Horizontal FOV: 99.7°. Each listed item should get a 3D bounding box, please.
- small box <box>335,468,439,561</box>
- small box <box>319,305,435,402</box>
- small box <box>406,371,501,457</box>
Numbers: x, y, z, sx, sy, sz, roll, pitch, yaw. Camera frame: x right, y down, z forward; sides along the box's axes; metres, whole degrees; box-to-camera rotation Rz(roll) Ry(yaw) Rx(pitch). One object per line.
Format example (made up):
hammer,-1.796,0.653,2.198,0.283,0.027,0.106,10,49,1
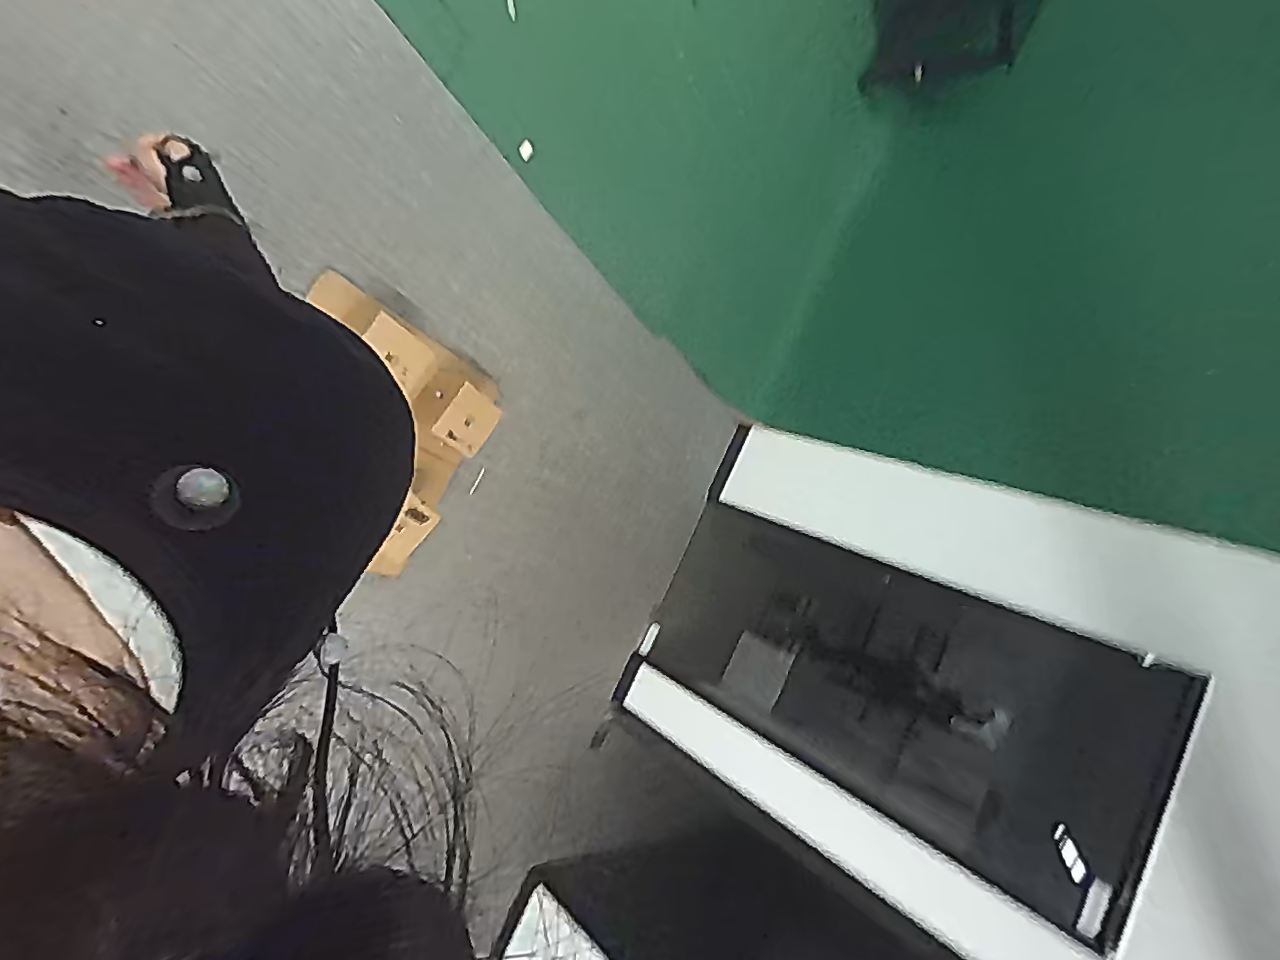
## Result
small box,-0.720,0.092,1.534,0.179,0.176,0.168,-51,140,-19
small box,-0.675,-0.328,1.384,0.168,0.176,0.179,-59,143,-11
small box,-0.554,-0.200,1.599,0.179,0.176,0.168,-59,142,-12
